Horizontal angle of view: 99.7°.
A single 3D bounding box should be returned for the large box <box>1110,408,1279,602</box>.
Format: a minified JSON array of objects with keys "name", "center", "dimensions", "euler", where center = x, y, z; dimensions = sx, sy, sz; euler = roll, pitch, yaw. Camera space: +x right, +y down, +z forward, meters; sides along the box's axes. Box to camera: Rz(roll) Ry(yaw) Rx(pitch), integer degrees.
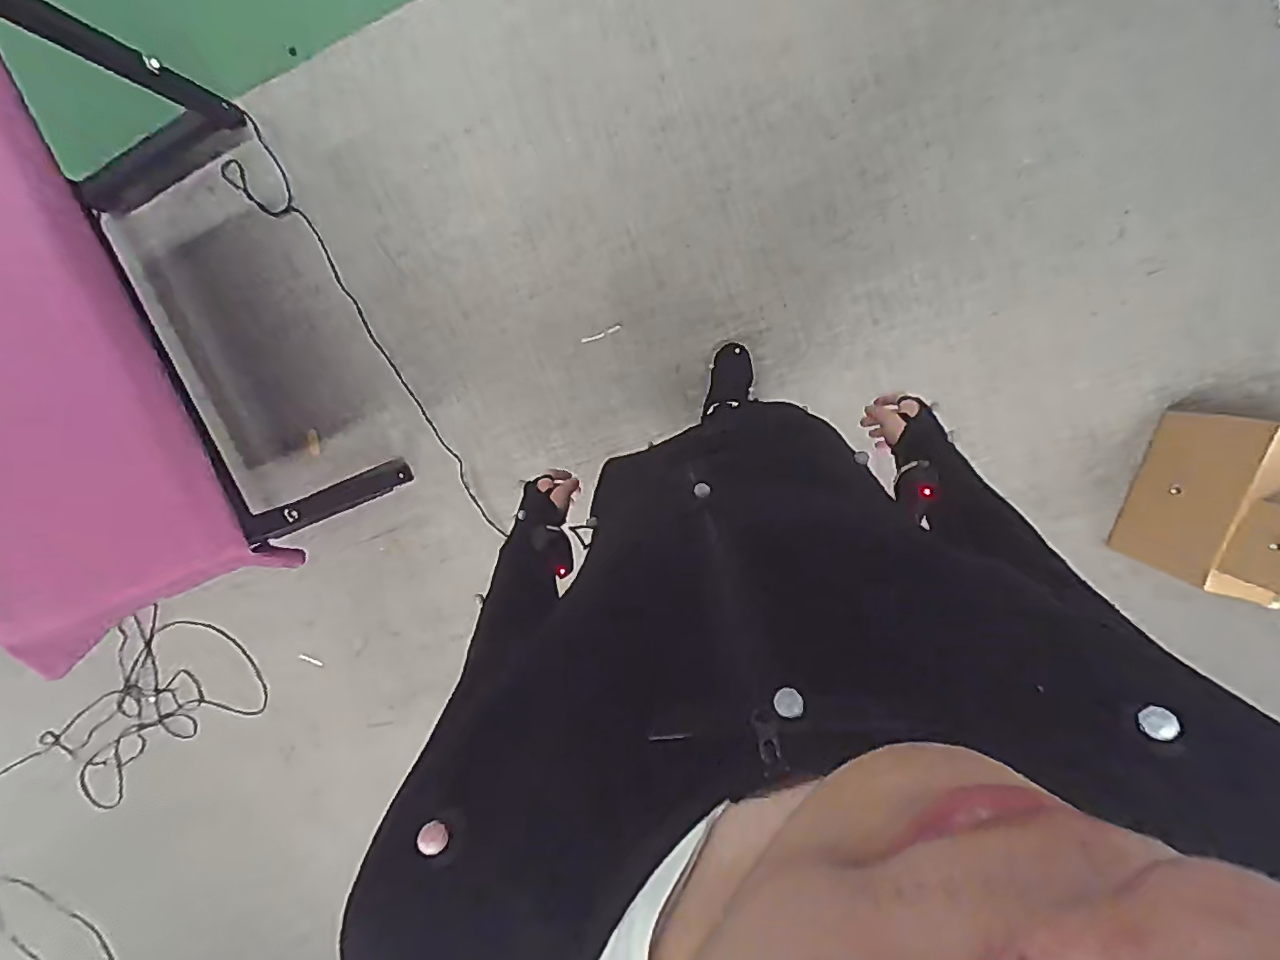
[{"name":"large box","center":[1.483,0.056,1.328],"dimensions":[0.320,0.320,0.408],"euler":[12,103,3]}]
